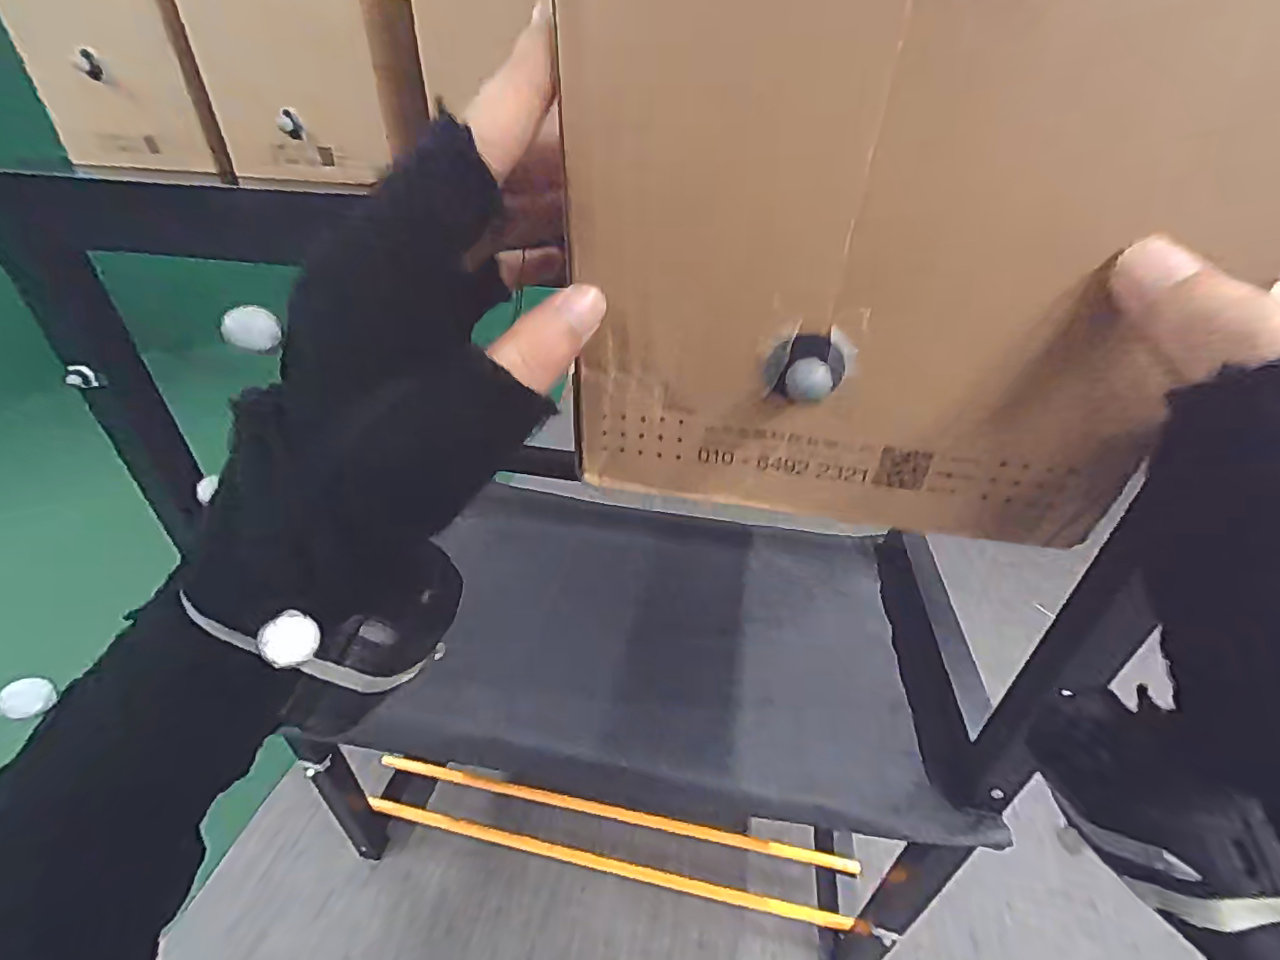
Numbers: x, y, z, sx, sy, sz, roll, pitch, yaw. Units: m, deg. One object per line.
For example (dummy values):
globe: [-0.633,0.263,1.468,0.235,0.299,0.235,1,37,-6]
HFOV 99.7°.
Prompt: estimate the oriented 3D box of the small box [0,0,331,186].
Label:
small box: [-0.455,-0.403,0.550,0.168,0.176,0.179,9,34,8]

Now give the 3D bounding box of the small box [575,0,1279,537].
small box: [0.074,-0.106,0.204,0.168,0.176,0.179,7,39,7]

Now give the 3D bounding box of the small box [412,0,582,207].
small box: [-0.069,-0.340,0.470,0.168,0.176,0.179,6,33,7]
